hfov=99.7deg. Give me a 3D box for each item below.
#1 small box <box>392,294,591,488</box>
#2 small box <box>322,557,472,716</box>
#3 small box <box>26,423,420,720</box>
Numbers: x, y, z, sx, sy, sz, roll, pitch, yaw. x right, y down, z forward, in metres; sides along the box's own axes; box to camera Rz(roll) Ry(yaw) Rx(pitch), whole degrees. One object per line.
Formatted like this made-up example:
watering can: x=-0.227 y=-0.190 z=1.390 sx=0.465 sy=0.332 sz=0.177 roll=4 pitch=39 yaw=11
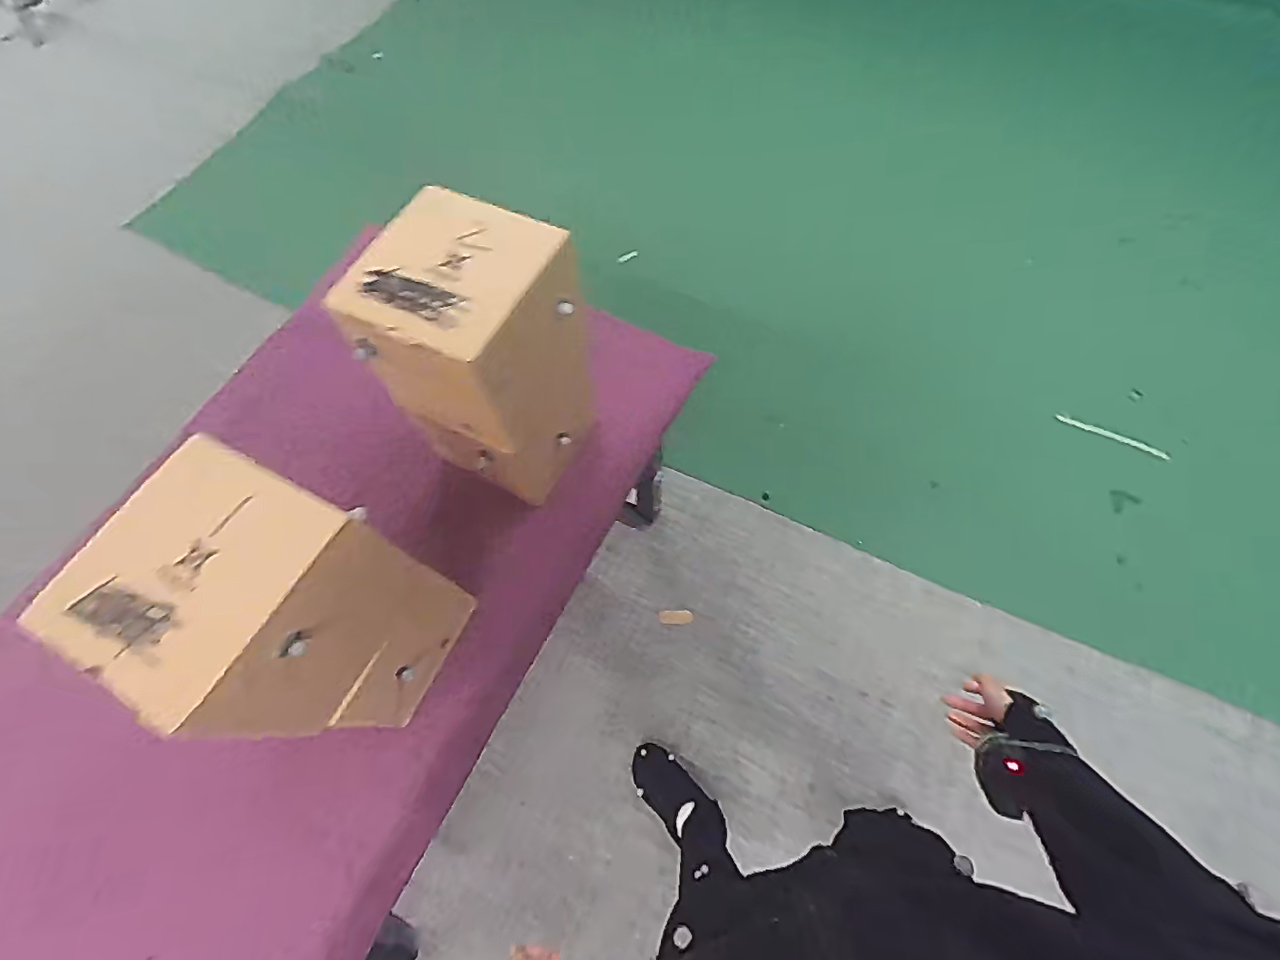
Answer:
small box: x=-0.182 y=-0.109 z=0.730 sx=0.179 sy=0.176 sz=0.168 roll=26 pitch=70 yaw=13
small box: x=-0.325 y=0.152 z=0.624 sx=0.179 sy=0.176 sz=0.168 roll=22 pitch=69 yaw=12
small box: x=-0.330 y=0.088 z=0.472 sx=0.168 sy=0.176 sz=0.179 roll=25 pitch=69 yaw=13
